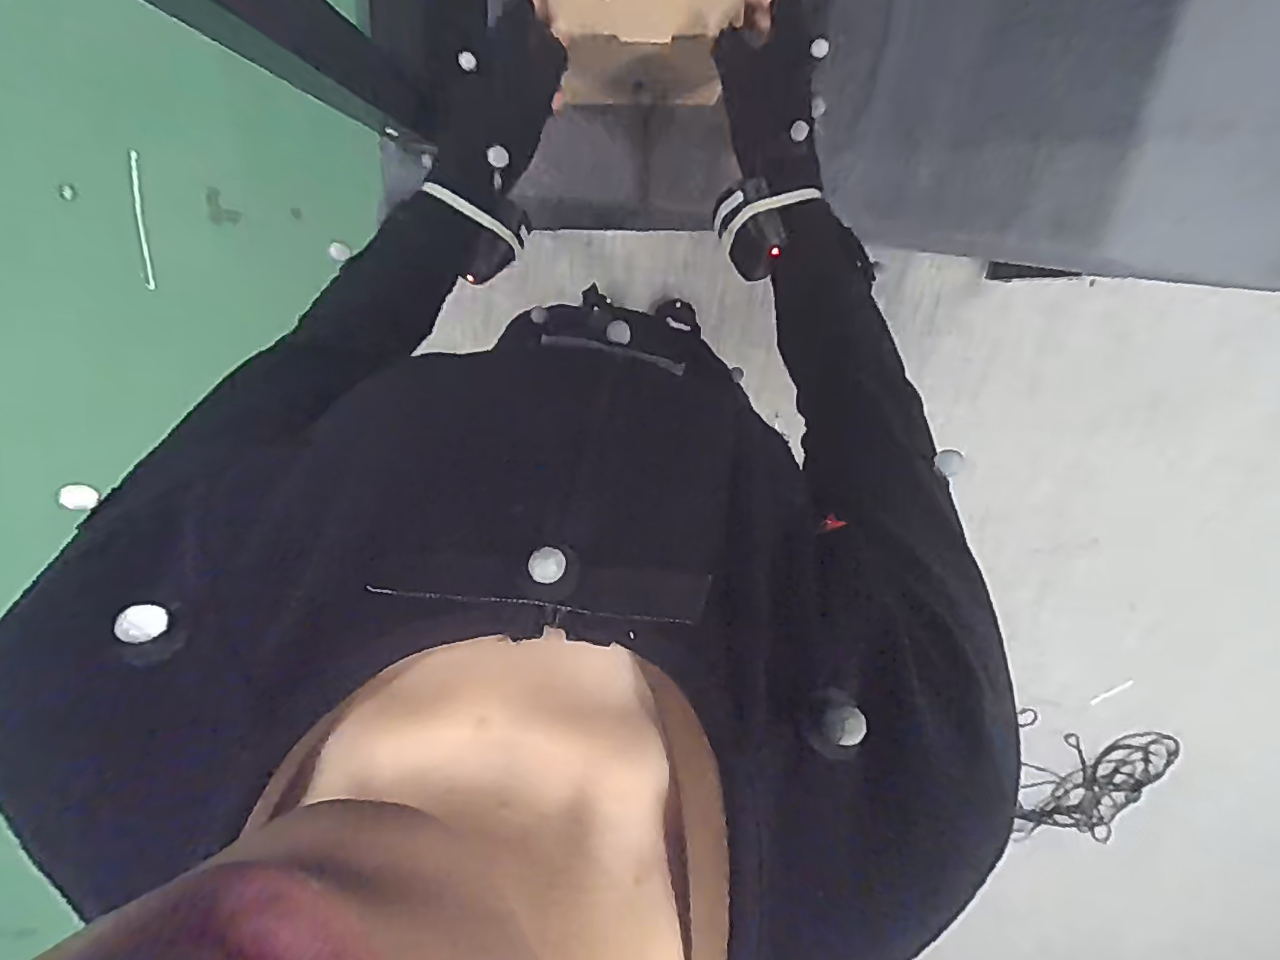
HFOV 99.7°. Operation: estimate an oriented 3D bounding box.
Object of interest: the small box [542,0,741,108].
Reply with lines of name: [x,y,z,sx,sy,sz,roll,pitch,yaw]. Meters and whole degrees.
small box: [0.003,-0.475,0.497,0.168,0.176,0.179,2,109,-1]
